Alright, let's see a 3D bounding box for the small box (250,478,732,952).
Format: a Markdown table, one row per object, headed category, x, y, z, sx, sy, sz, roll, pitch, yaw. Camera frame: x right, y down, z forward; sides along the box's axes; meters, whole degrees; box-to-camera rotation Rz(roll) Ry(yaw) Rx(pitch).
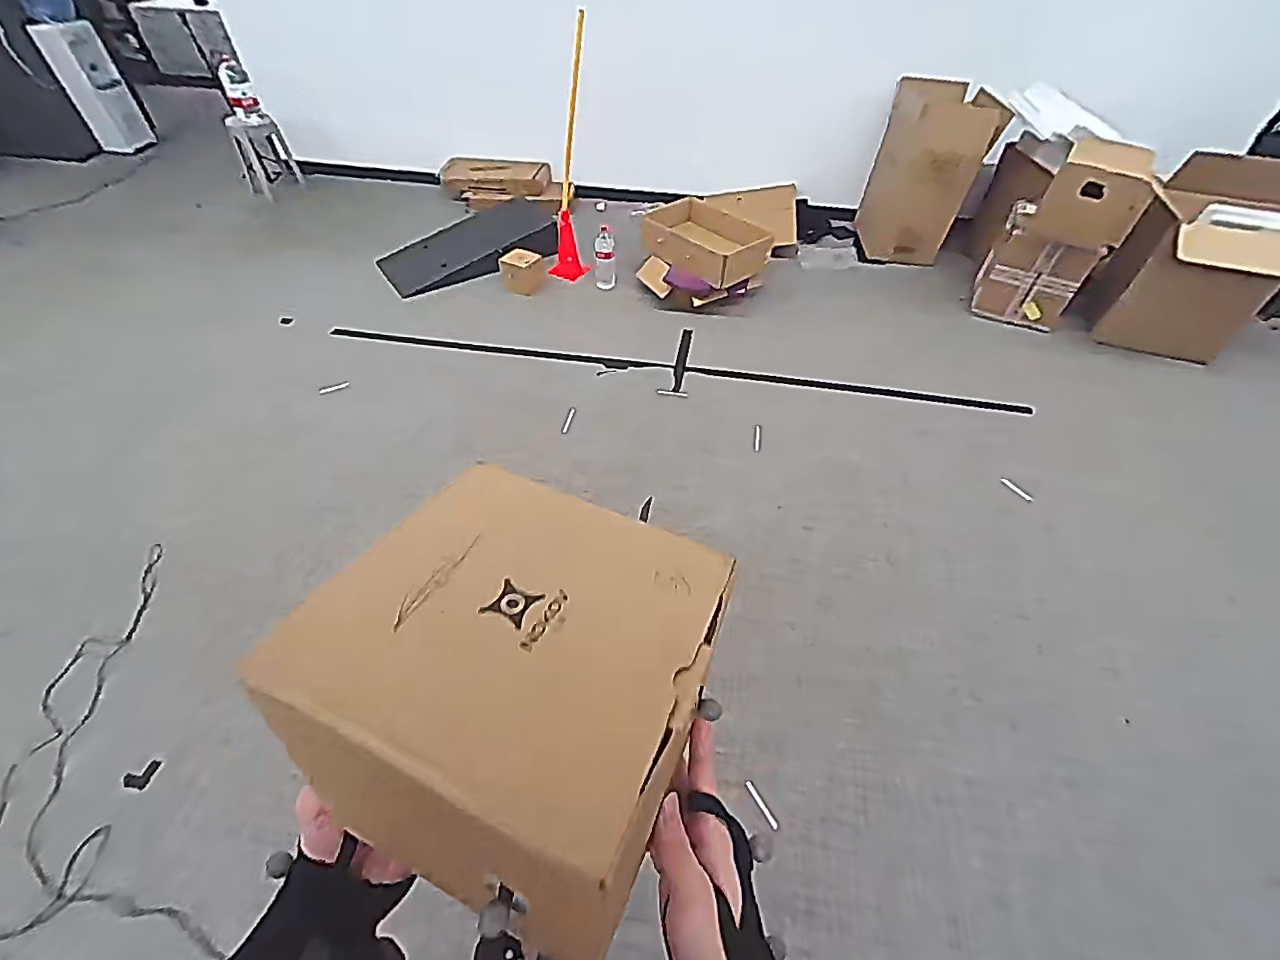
| category | x | y | z | sx | sy | sz | roll | pitch | yaw |
| --- | --- | --- | --- | --- | --- | --- | --- | --- | --- |
| small box | -0.065 | 0.132 | 0.318 | 0.179 | 0.176 | 0.168 | 18 | 40 | 16 |
